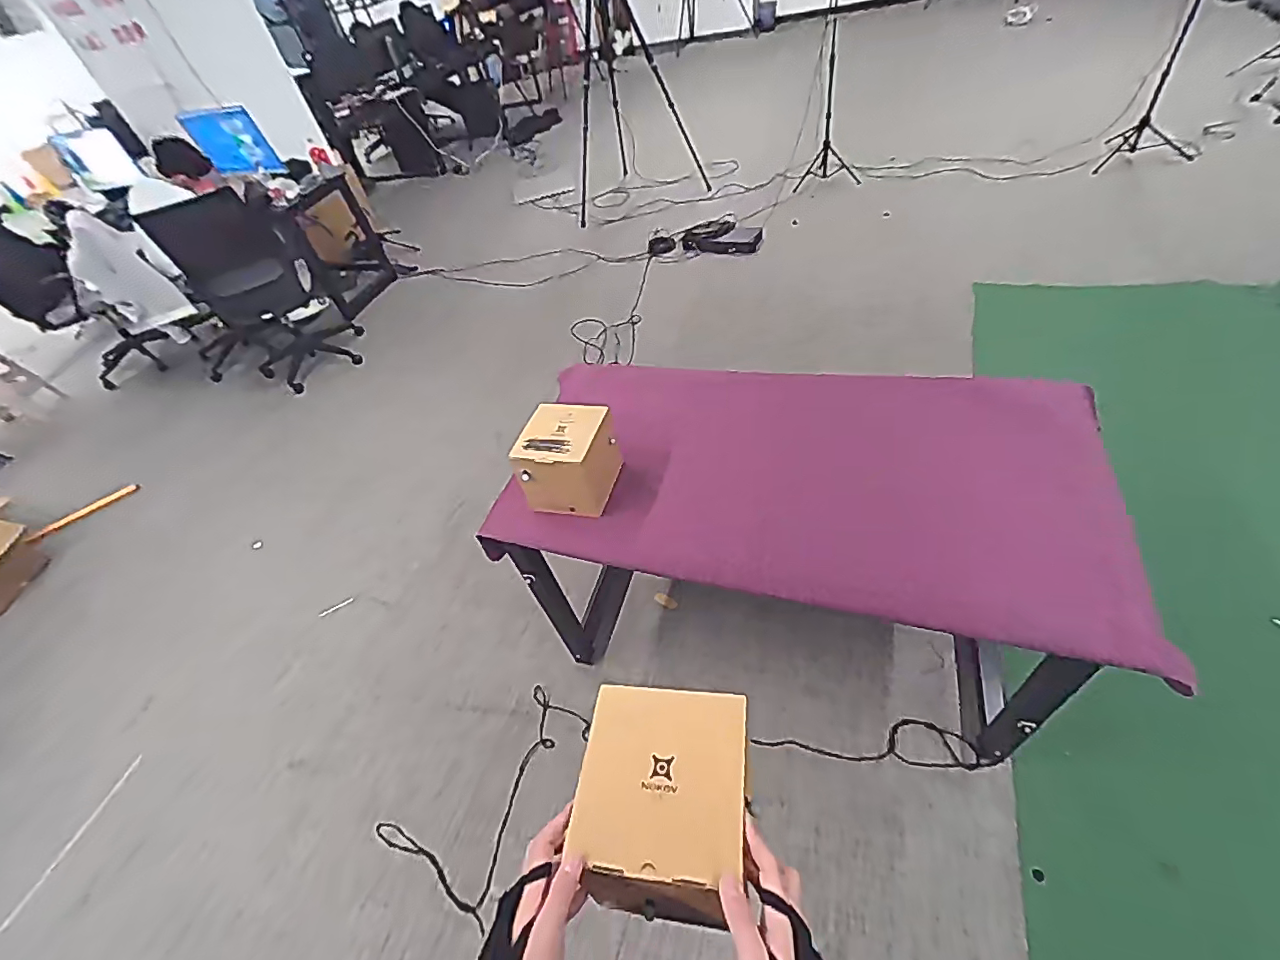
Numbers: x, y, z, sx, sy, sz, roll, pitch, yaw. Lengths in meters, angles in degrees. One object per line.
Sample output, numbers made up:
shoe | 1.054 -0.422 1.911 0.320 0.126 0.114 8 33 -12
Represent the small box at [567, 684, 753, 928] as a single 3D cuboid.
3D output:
small box | 0.036 0.351 0.589 0.168 0.176 0.179 0 43 13
